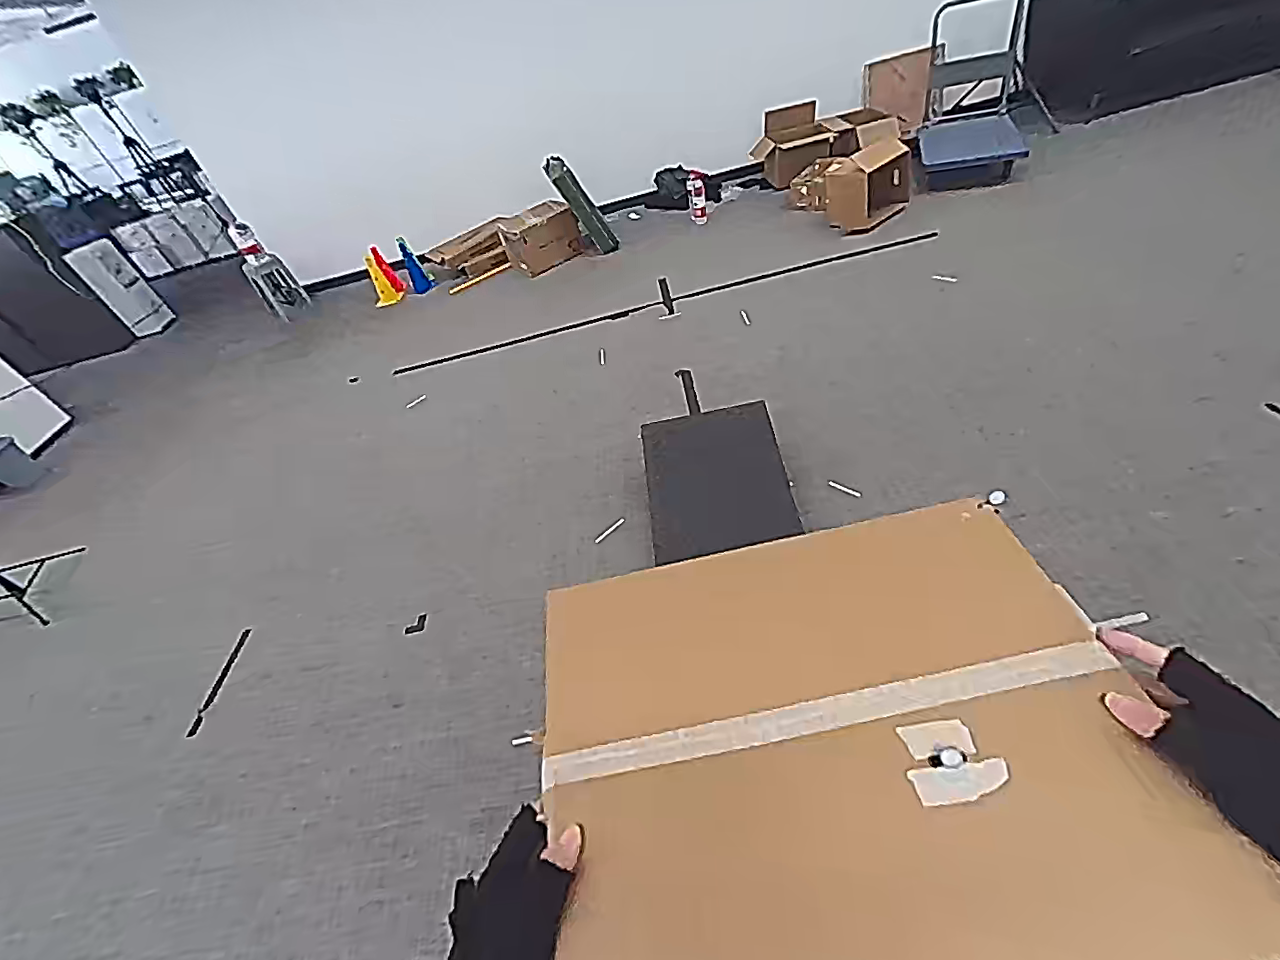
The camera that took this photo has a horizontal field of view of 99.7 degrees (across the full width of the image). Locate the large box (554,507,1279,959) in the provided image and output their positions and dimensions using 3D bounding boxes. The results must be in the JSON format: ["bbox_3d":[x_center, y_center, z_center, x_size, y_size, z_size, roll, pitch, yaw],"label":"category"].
[{"bbox_3d":[0.159,0.278,0.503,0.408,0.320,0.320,-13,45,2],"label":"large box"}]
